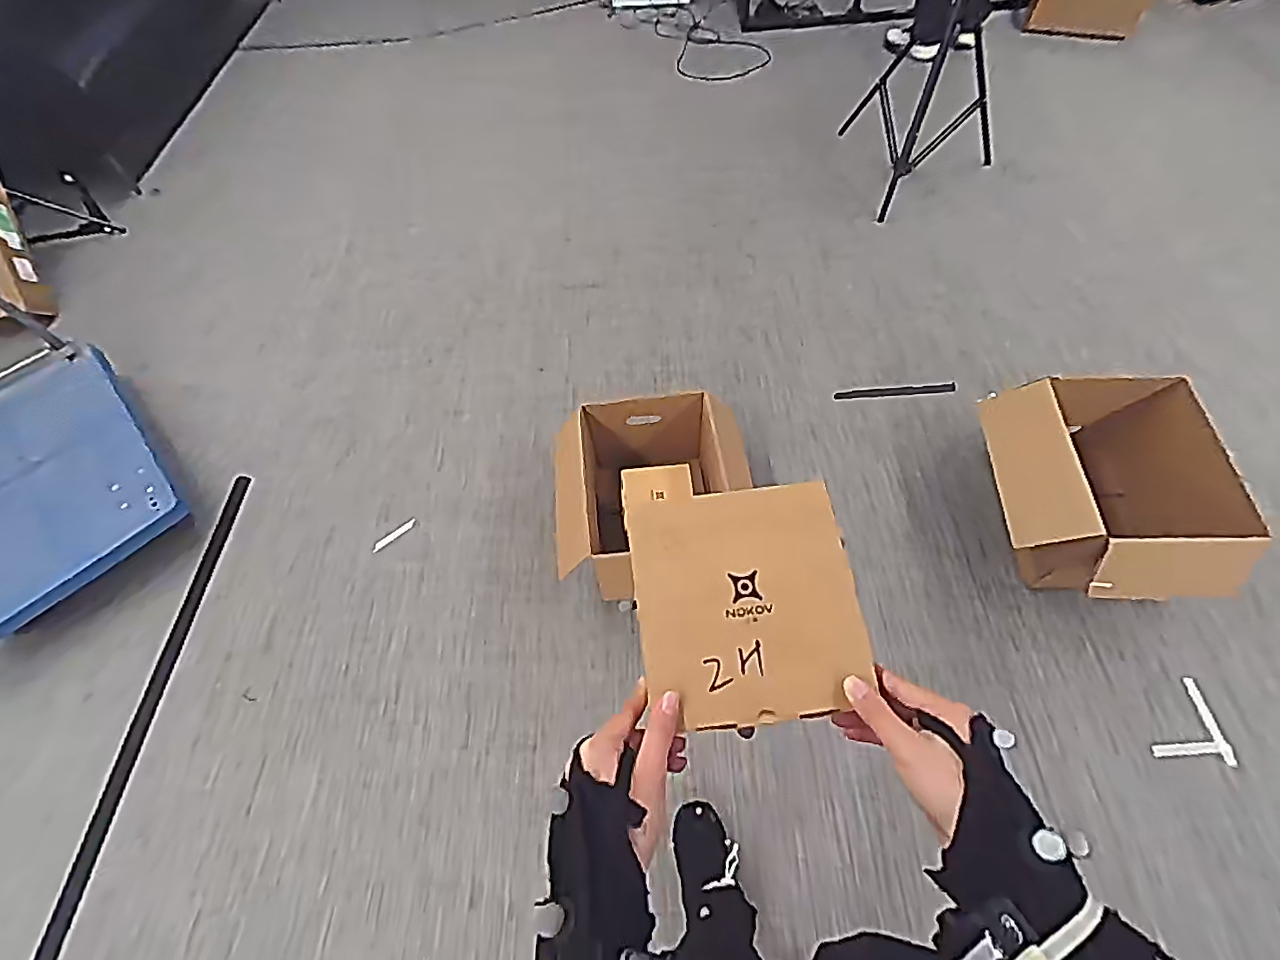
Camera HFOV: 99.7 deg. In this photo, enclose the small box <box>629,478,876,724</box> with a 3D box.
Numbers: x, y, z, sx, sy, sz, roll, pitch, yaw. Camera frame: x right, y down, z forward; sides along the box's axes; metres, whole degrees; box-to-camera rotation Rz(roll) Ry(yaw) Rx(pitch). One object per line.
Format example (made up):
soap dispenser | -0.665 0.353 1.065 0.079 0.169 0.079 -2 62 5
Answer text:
small box | 0.080 0.116 0.487 0.168 0.176 0.179 -7 68 -1
